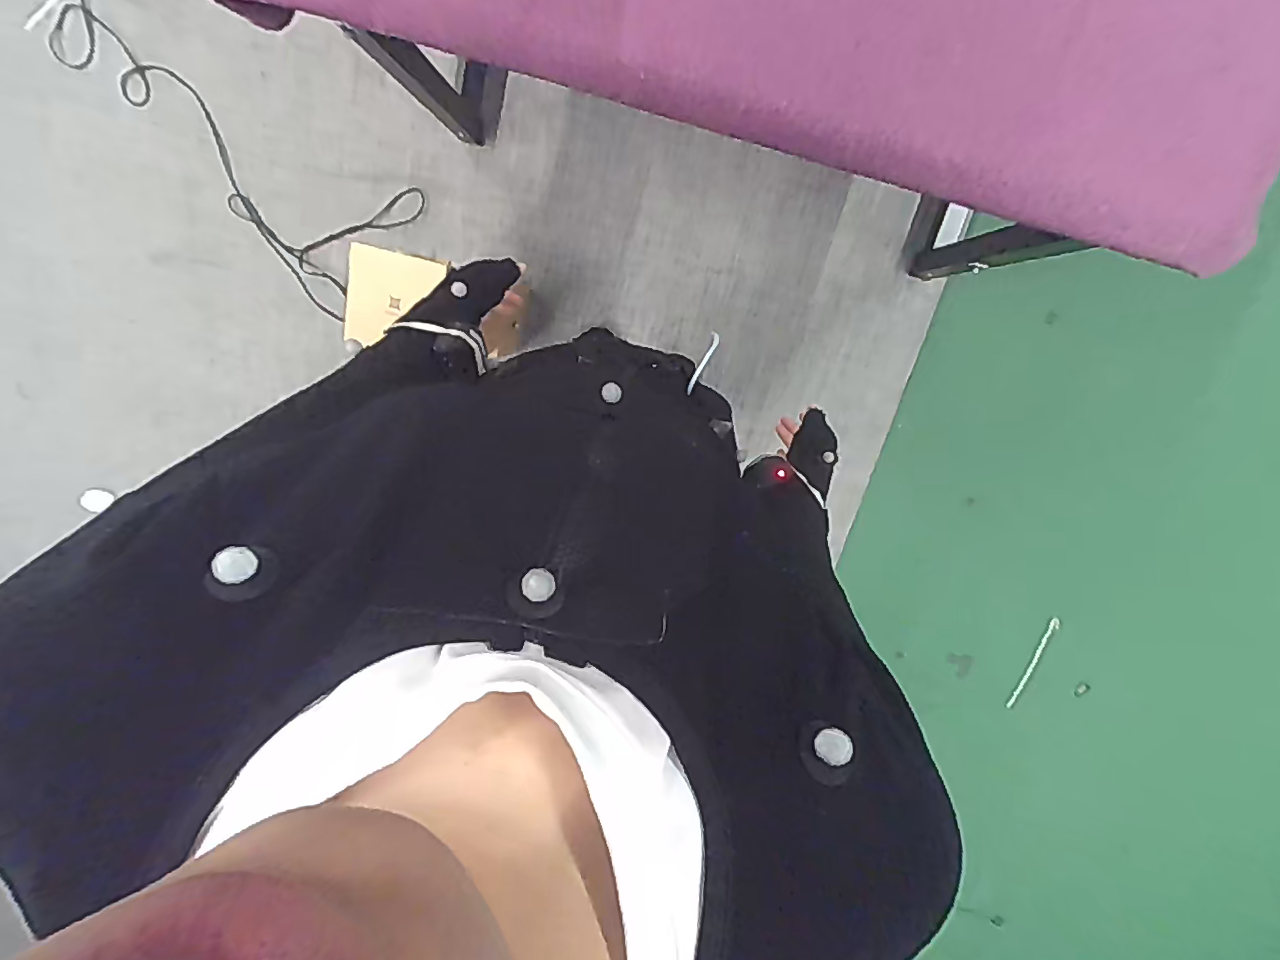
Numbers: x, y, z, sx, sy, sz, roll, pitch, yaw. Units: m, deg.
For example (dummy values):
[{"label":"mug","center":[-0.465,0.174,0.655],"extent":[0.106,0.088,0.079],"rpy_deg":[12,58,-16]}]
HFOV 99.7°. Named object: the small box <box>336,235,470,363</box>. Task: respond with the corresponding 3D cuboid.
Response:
[{"label":"small box","center":[-0.427,-0.329,0.996],"extent":[0.168,0.176,0.179],"rpy_deg":[15,108,-2]}]
